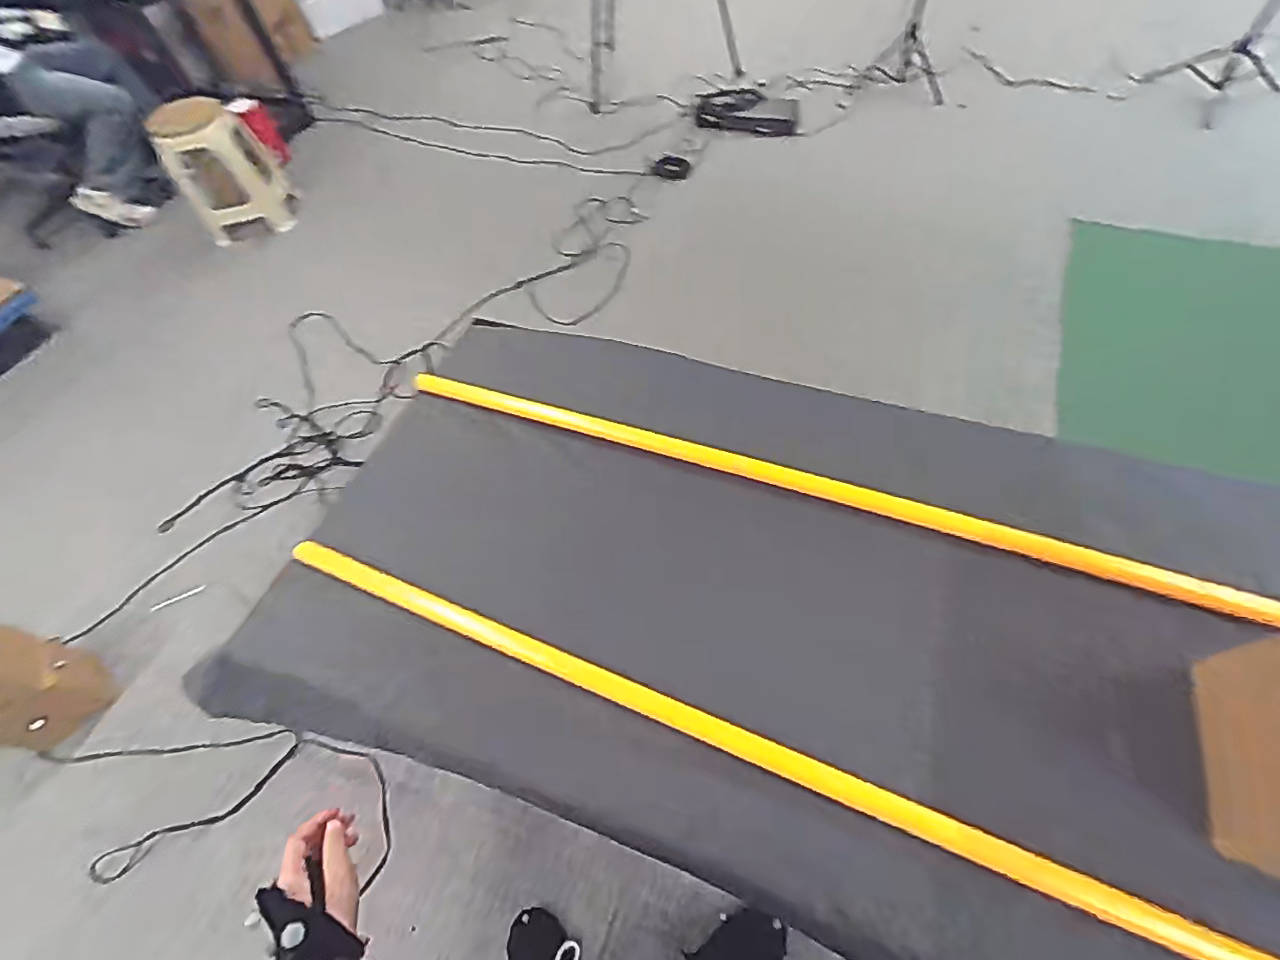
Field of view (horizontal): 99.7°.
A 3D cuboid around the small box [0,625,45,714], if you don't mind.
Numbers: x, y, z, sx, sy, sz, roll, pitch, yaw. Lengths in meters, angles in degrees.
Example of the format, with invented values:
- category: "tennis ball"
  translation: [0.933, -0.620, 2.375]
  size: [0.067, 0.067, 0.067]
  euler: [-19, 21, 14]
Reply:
- category: "small box"
  translation: [-1.471, 0.424, 1.181]
  size: [0.168, 0.176, 0.179]
  euler: [-38, 60, -19]

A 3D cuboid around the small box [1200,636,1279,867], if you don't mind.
- category: "small box"
  translation: [0.600, 0.232, 0.421]
  size: [0.168, 0.176, 0.179]
  euler: [16, 60, 17]

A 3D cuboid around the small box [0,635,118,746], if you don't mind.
- category: "small box"
  translation: [-1.447, 0.517, 1.315]
  size: [0.168, 0.176, 0.179]
  euler: [37, 67, 25]
